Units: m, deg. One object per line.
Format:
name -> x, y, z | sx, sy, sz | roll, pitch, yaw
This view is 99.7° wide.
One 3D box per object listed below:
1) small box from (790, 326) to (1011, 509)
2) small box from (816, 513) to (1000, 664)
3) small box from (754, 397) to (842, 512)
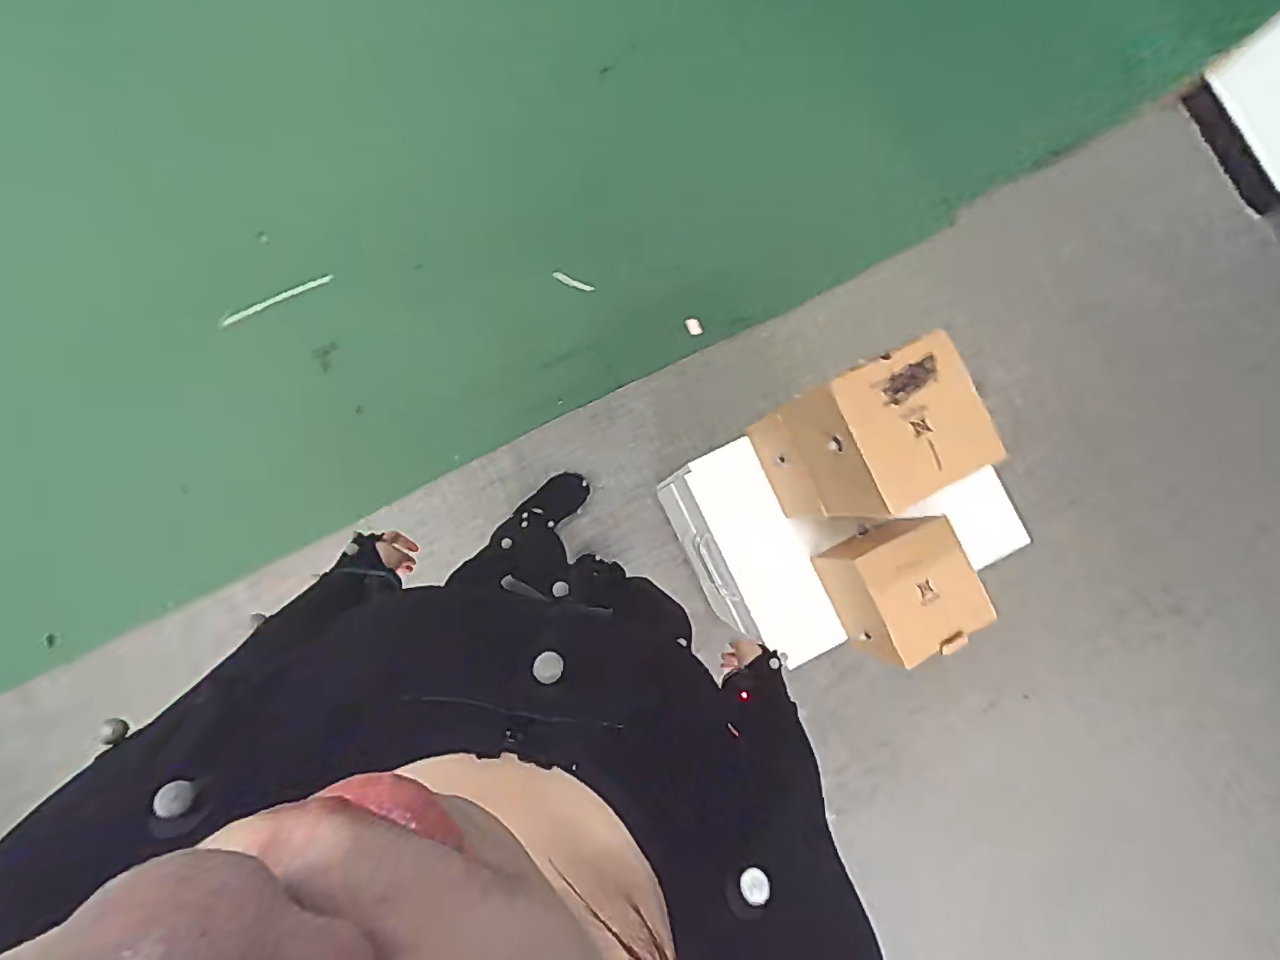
small box -> 0.325, -0.069, 0.713 | 0.168, 0.176, 0.179 | -25, 90, -6
small box -> 0.416, 0.165, 0.870 | 0.168, 0.176, 0.179 | -24, 86, -7
small box -> 0.308, -0.056, 0.877 | 0.168, 0.176, 0.179 | -24, 88, -5
